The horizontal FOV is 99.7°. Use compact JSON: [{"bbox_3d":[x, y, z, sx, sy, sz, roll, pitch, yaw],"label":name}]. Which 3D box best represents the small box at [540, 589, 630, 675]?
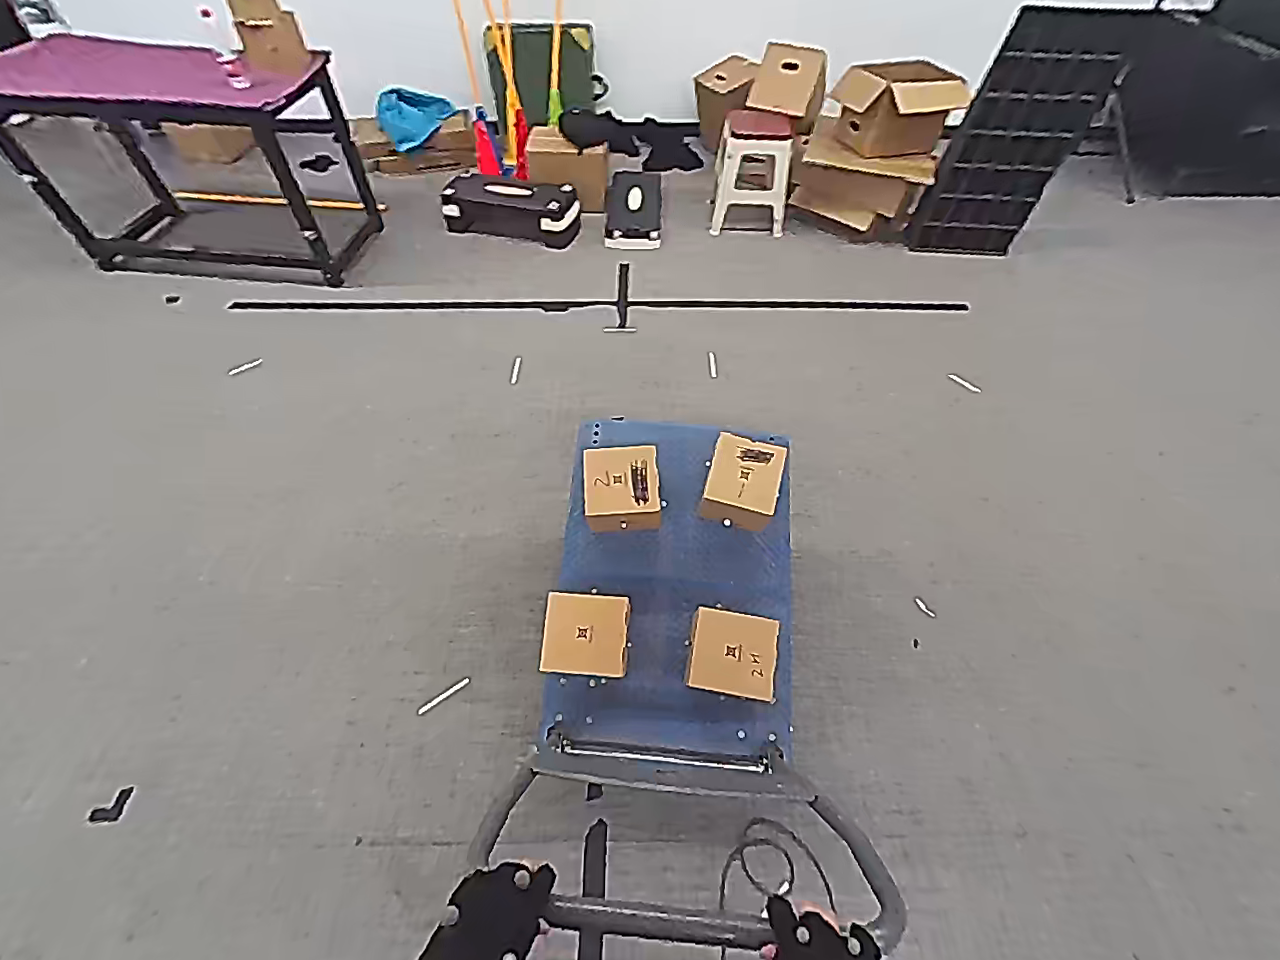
[{"bbox_3d":[-0.117,0.347,1.223,0.179,0.176,0.168,4,71,0],"label":"small box"}]

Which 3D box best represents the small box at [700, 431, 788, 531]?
[{"bbox_3d":[0.250,0.008,1.339,0.168,0.176,0.179,16,72,6],"label":"small box"}]

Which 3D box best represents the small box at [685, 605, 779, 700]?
[{"bbox_3d":[0.199,0.385,1.206,0.179,0.176,0.168,10,71,4],"label":"small box"}]
